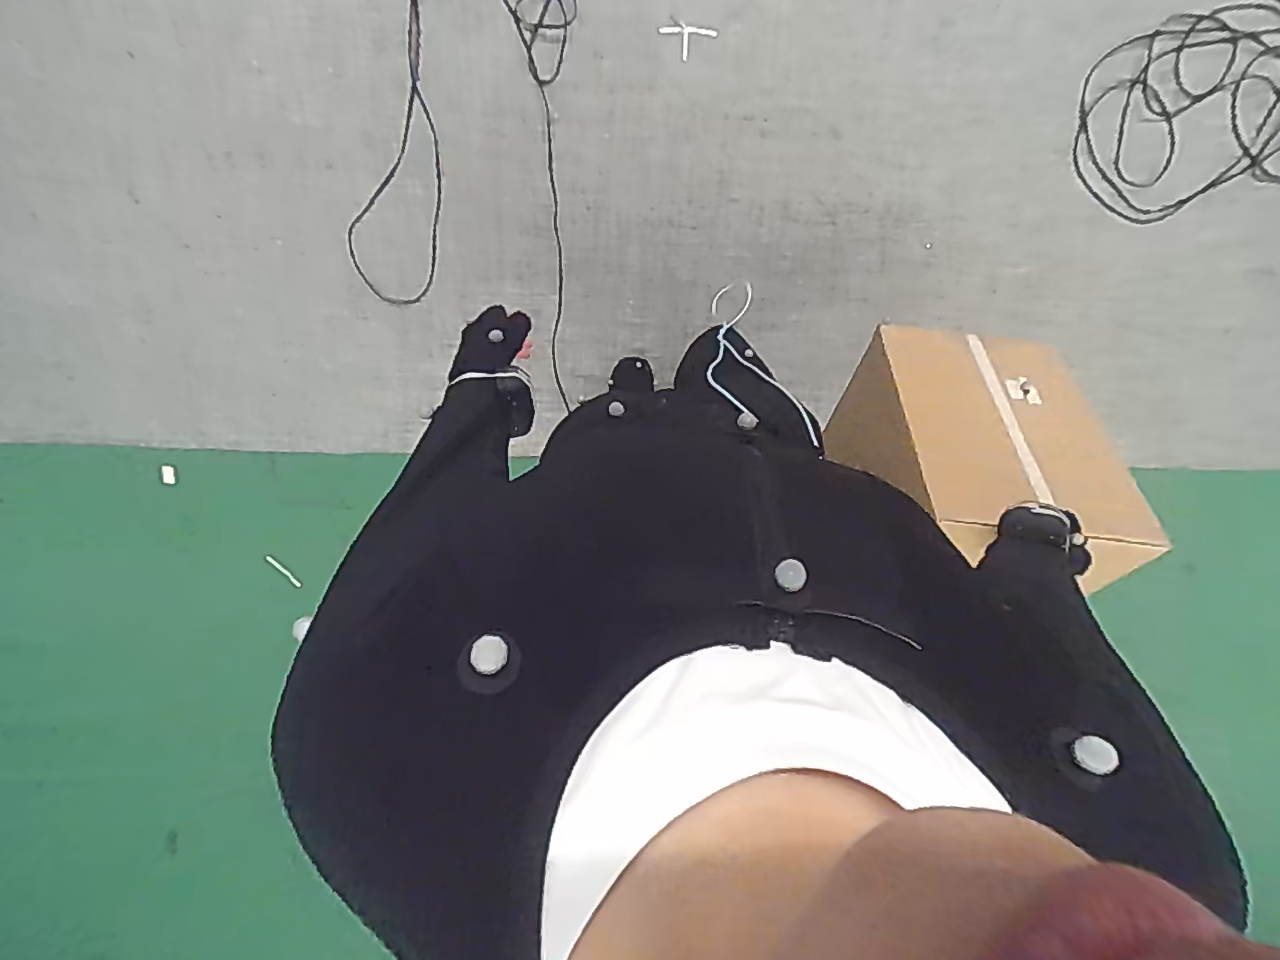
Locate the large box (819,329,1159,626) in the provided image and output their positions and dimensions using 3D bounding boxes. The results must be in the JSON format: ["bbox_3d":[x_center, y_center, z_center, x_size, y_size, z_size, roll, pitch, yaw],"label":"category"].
[{"bbox_3d":[0.533,0.000,0.941,0.320,0.408,0.320,7,143,-2],"label":"large box"}]
